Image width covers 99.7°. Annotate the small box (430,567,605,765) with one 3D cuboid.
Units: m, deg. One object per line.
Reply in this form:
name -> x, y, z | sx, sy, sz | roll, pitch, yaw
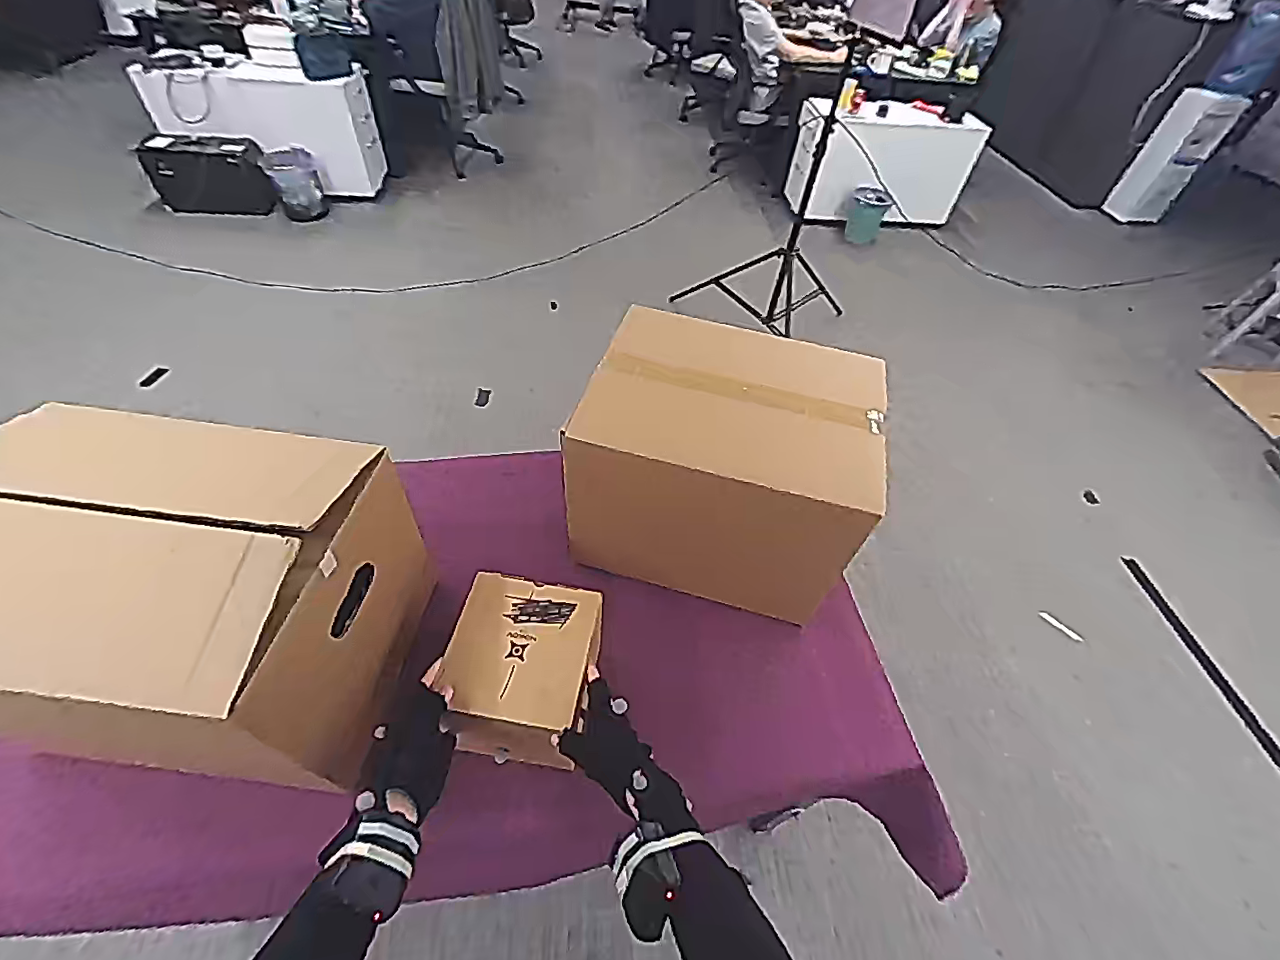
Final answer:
small box -> -0.145, 0.242, 0.698 | 0.168, 0.176, 0.179 | 10, 49, 3
